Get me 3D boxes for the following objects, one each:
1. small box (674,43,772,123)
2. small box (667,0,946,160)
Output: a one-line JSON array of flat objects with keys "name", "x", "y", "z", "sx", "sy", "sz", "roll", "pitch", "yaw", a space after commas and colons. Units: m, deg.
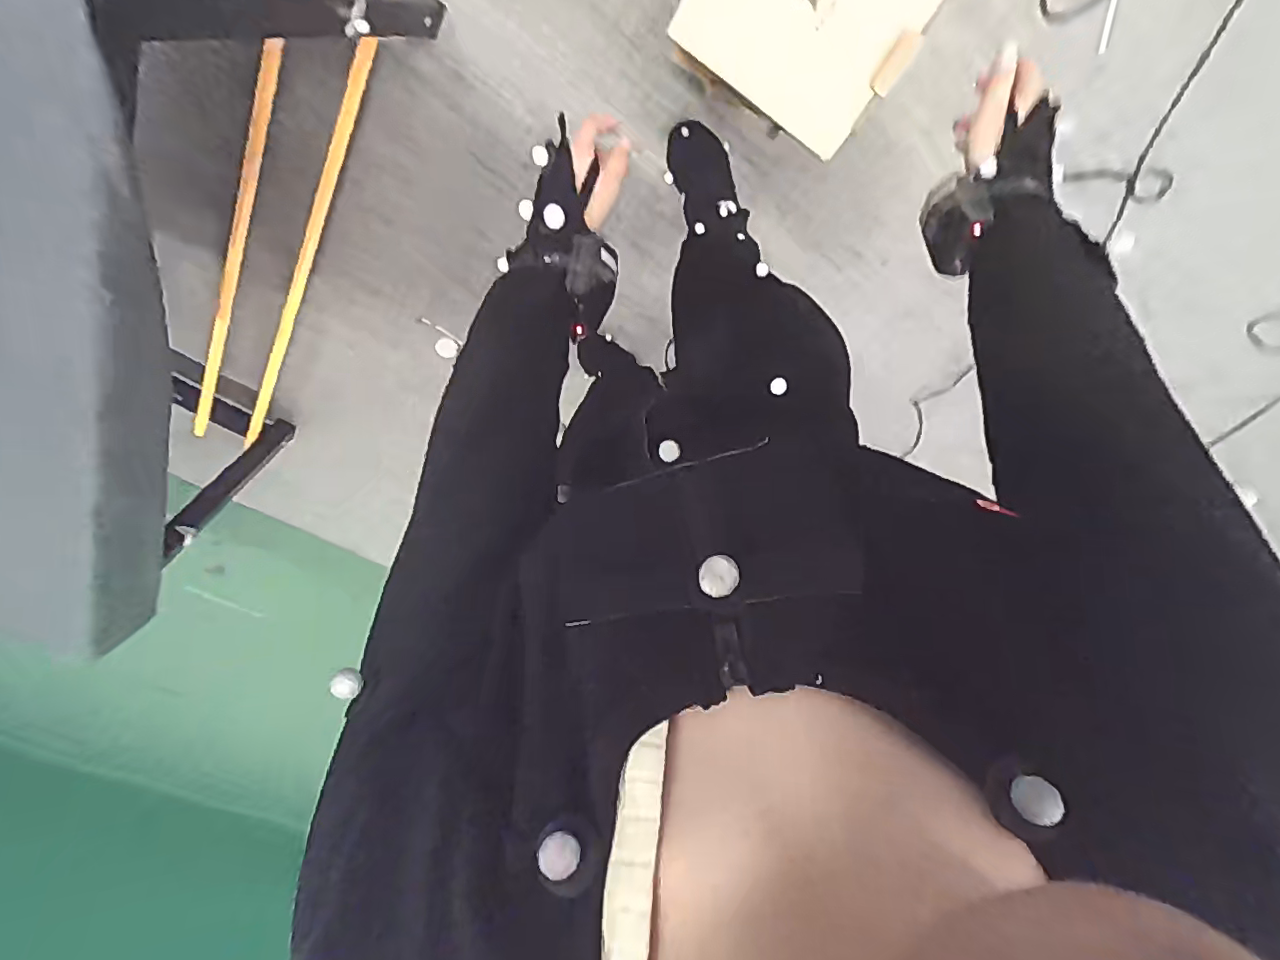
[{"name": "small box", "x": 0.163, "y": -0.628, "z": 0.732, "sx": 0.168, "sy": 0.176, "sz": 0.179, "roll": 27, "pitch": 126, "yaw": -16}, {"name": "small box", "x": 0.142, "y": -0.425, "z": 0.476, "sx": 0.179, "sy": 0.176, "sz": 0.168, "roll": 28, "pitch": 126, "yaw": -15}]
